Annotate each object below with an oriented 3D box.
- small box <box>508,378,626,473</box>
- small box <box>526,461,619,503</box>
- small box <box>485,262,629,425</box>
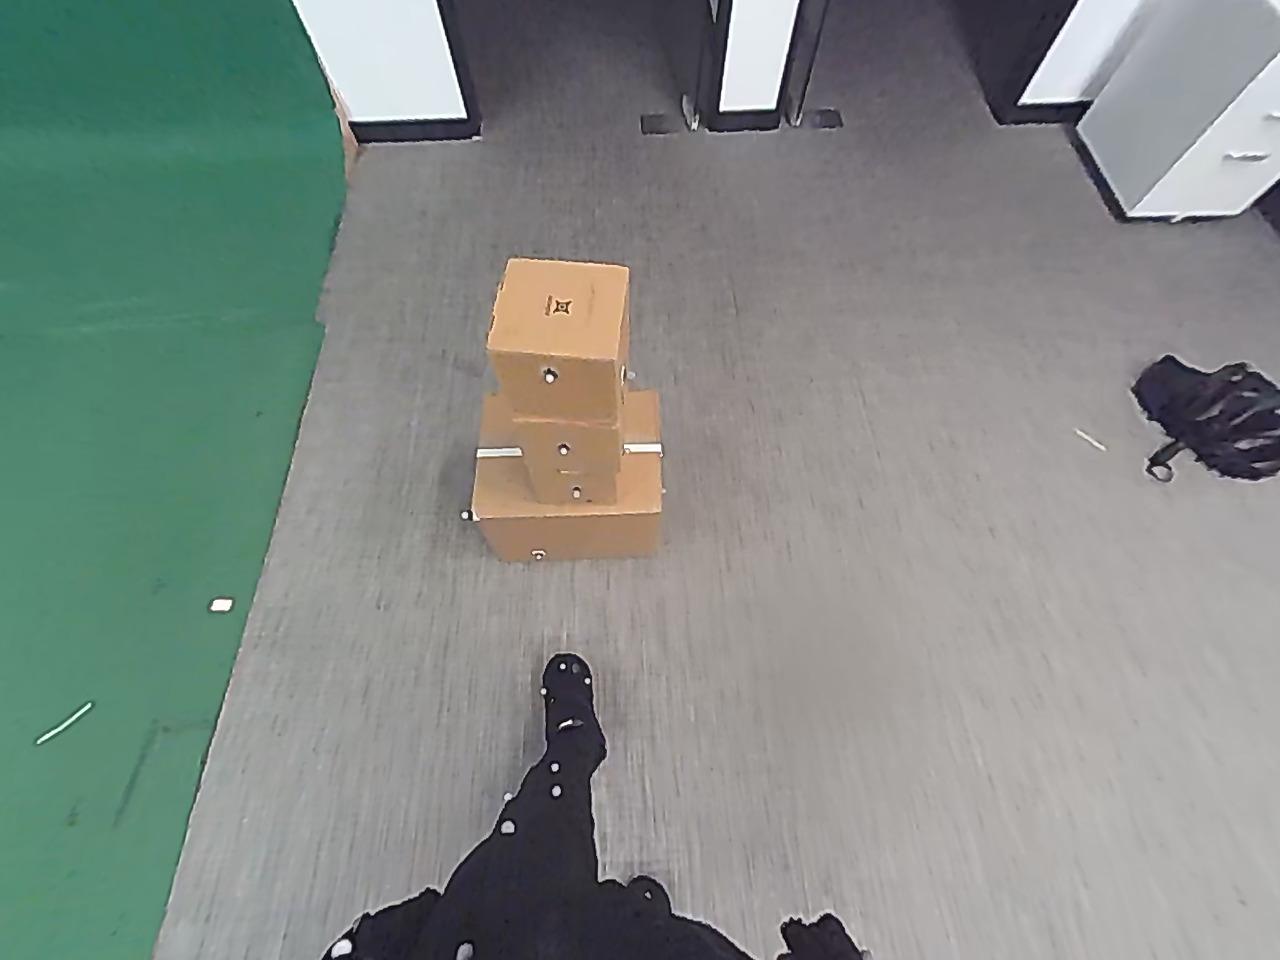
[{"bbox_3d":[-0.117,-0.121,0.950,0.179,0.176,0.168,3,65,1],"label":"small box"},{"bbox_3d":[-0.128,-0.060,1.104,0.168,0.176,0.179,0,66,0],"label":"small box"},{"bbox_3d":[-0.112,-0.196,0.807,0.179,0.176,0.168,5,66,0],"label":"small box"}]
